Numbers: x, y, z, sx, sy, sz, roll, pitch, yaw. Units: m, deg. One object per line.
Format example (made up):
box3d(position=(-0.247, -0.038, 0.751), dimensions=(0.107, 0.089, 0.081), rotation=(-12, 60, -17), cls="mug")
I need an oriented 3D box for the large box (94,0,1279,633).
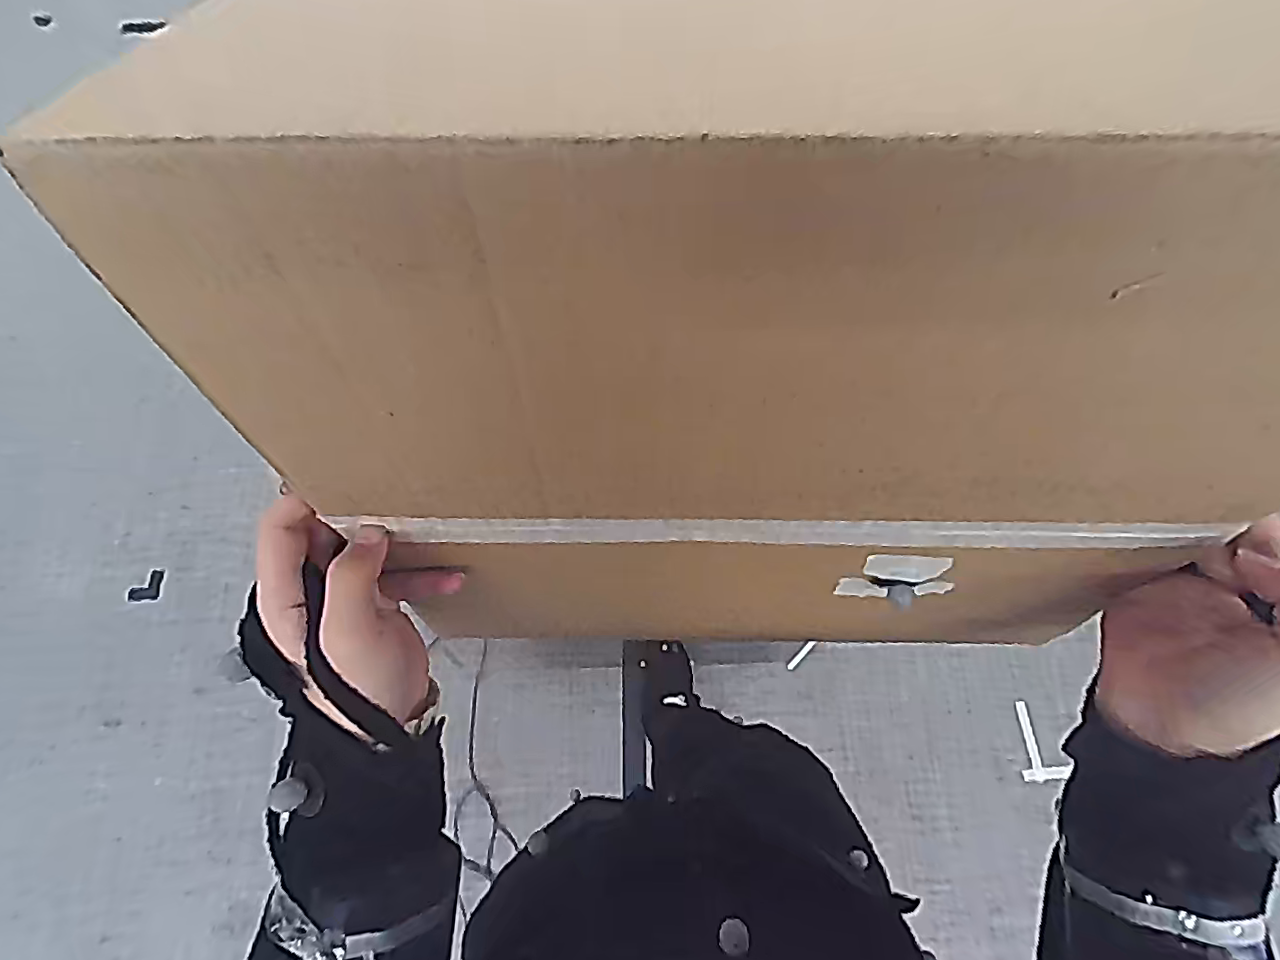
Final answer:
box3d(position=(0.061, -0.107, 0.335), dimensions=(0.408, 0.320, 0.320), rotation=(-1, 56, 1), cls="large box")
